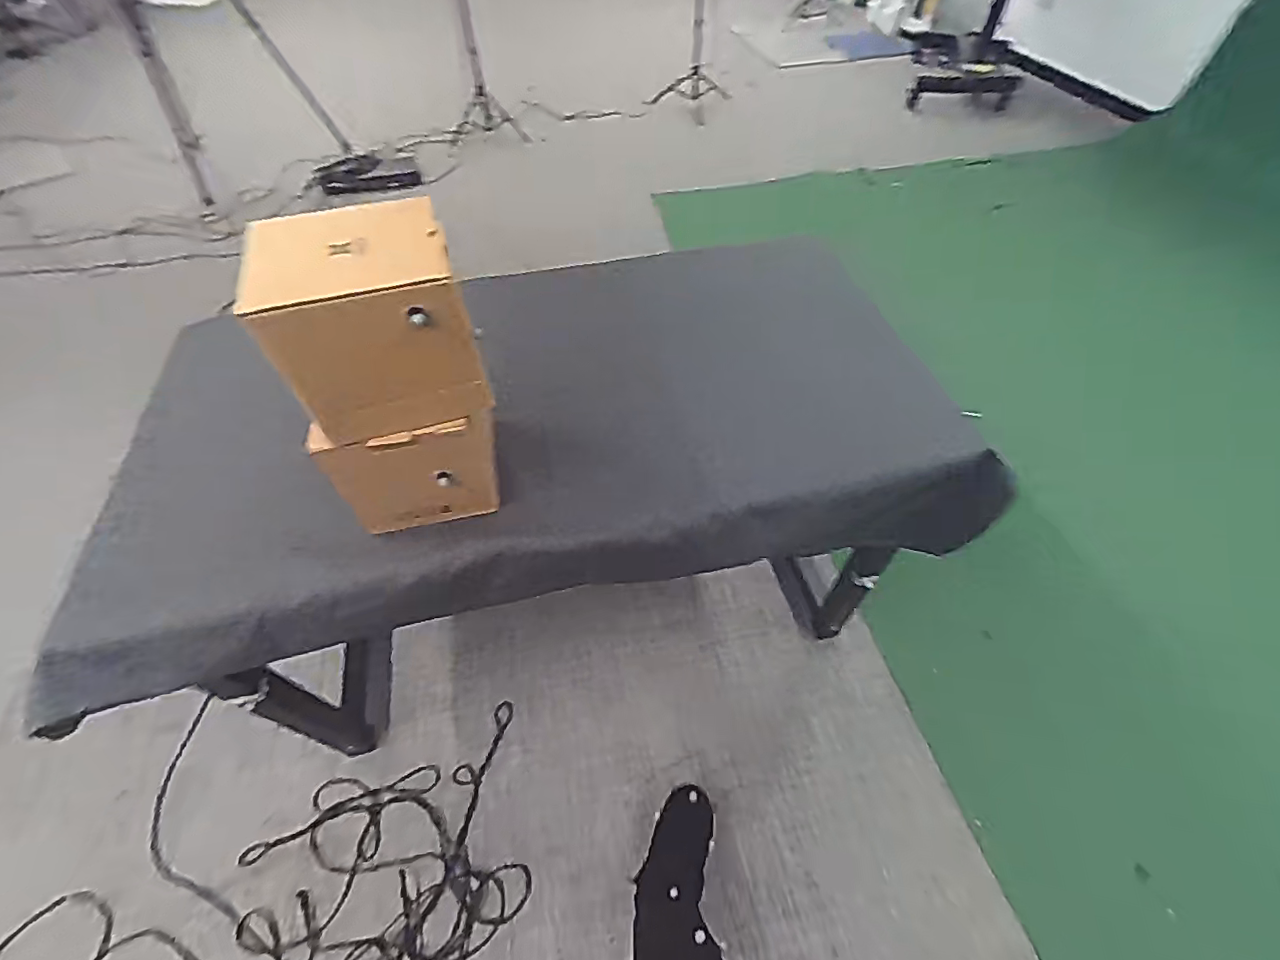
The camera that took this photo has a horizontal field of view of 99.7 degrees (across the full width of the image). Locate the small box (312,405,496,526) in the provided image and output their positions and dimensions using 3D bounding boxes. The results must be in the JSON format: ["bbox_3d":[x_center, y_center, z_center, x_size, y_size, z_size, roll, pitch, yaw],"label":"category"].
[{"bbox_3d":[-0.286,-0.057,0.692,0.168,0.176,0.179,-10,52,-9],"label":"small box"}]

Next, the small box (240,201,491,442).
[{"bbox_3d":[-0.273,-0.162,0.568,0.179,0.176,0.168,-16,53,-13],"label":"small box"}]
